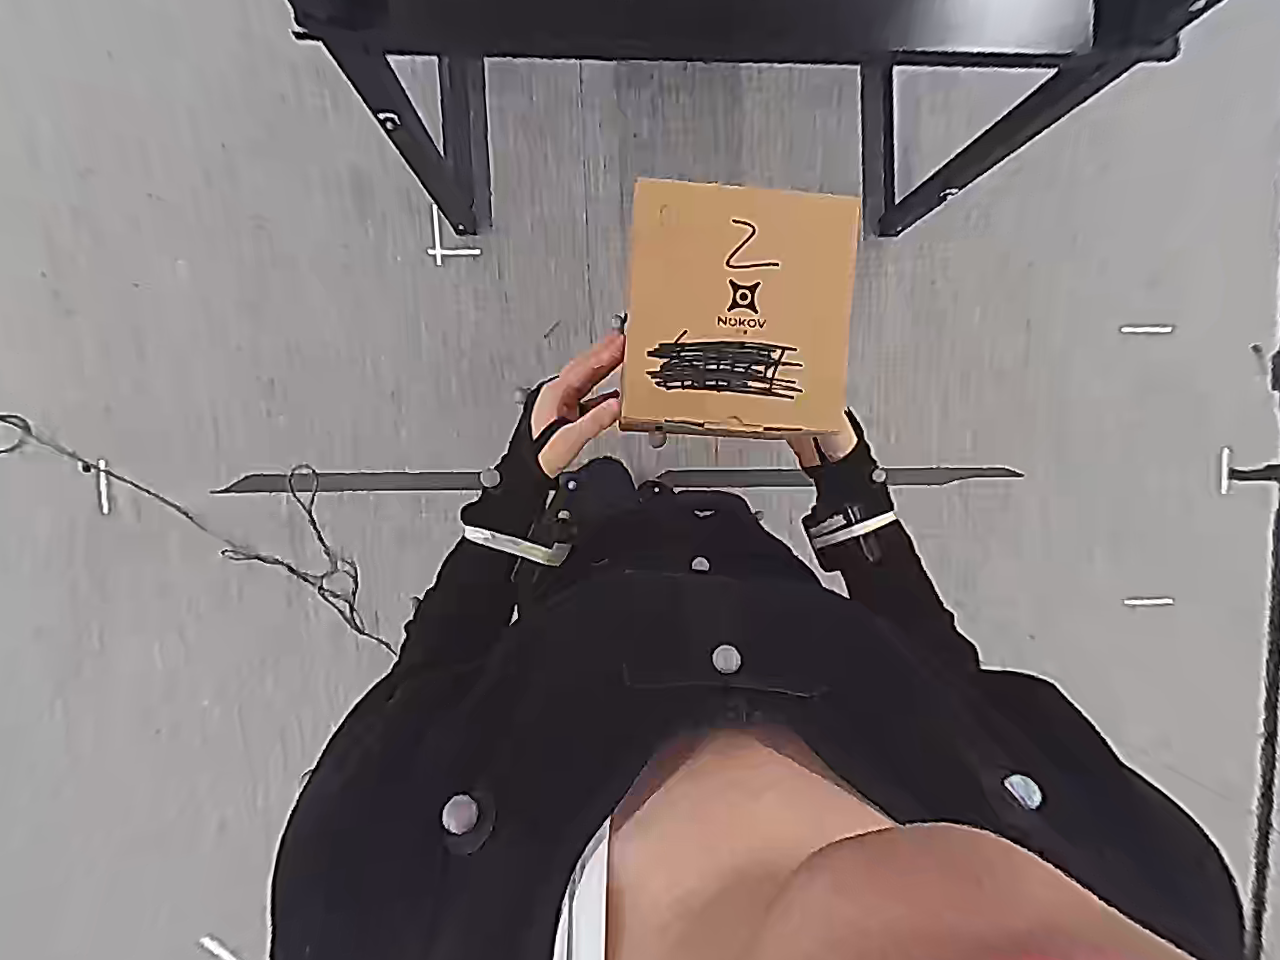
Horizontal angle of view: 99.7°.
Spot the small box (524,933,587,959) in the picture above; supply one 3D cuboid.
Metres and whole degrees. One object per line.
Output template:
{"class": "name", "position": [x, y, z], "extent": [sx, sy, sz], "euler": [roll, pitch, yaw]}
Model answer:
{"class": "small box", "position": [-0.228, 1.387, 1.474], "extent": [0.168, 0.176, 0.179], "euler": [-7, 95, -4]}
